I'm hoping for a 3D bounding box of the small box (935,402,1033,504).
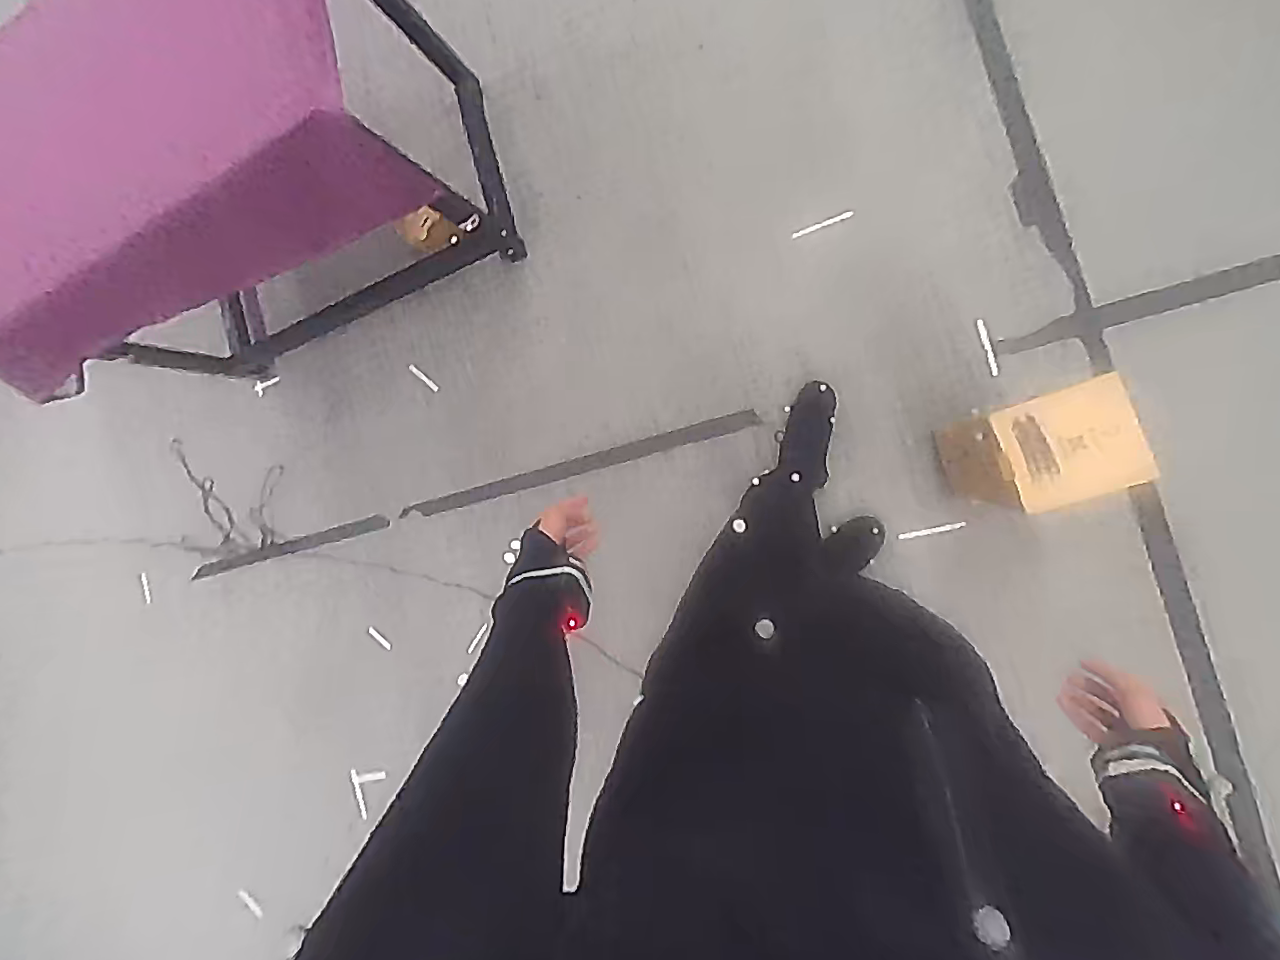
[{"bbox_3d":[0.770,-0.058,1.181,0.168,0.176,0.179,-18,86,19],"label":"small box"}]

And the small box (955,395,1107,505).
[{"bbox_3d":[0.727,-0.056,1.024,0.179,0.176,0.168,-14,89,20],"label":"small box"}]
